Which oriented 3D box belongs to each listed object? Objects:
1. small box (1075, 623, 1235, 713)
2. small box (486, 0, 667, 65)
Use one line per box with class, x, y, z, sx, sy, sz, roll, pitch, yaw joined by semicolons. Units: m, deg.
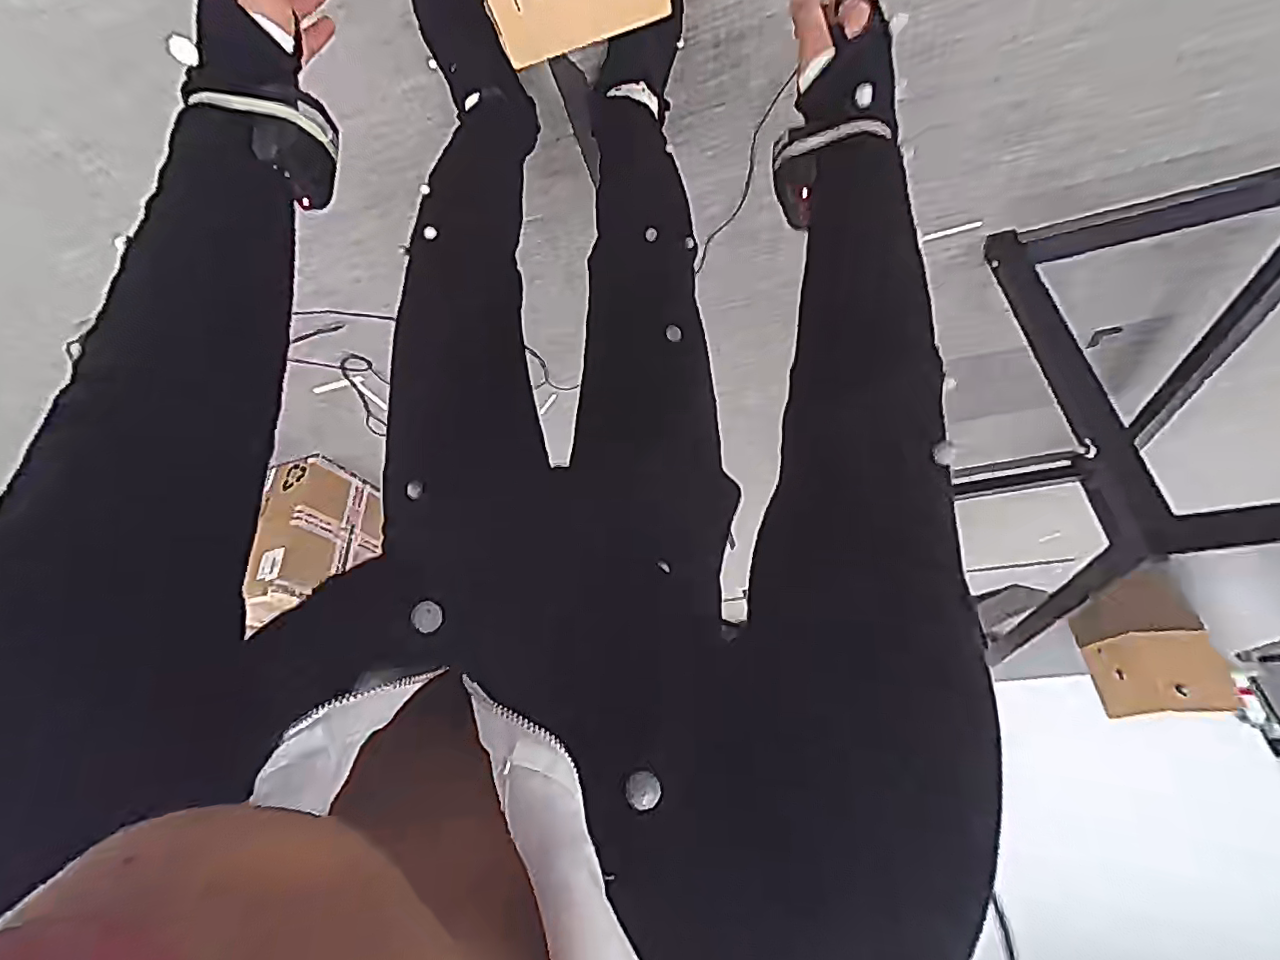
small box;1.166;0.433;1.244;0.179;0.176;0.168;-1;151;-2
small box;-0.076;-0.566;0.537;0.179;0.176;0.168;-9;150;12
